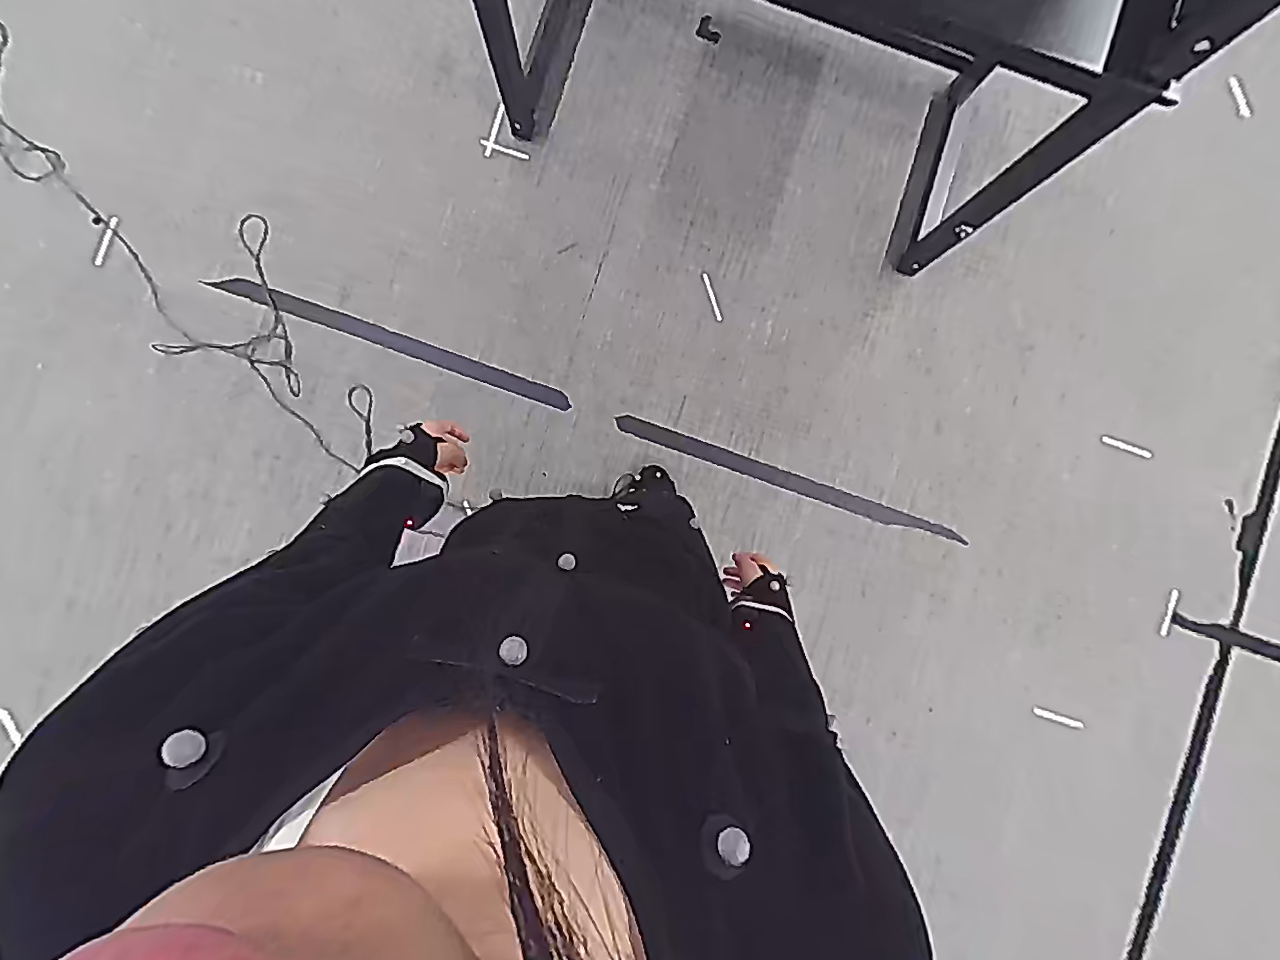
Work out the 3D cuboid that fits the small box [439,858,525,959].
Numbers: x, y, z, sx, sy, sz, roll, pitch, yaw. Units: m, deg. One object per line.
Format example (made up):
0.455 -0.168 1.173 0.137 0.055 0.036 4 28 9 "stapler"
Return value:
-0.394 1.101 1.365 0.168 0.176 0.179 10 88 -3 "small box"
